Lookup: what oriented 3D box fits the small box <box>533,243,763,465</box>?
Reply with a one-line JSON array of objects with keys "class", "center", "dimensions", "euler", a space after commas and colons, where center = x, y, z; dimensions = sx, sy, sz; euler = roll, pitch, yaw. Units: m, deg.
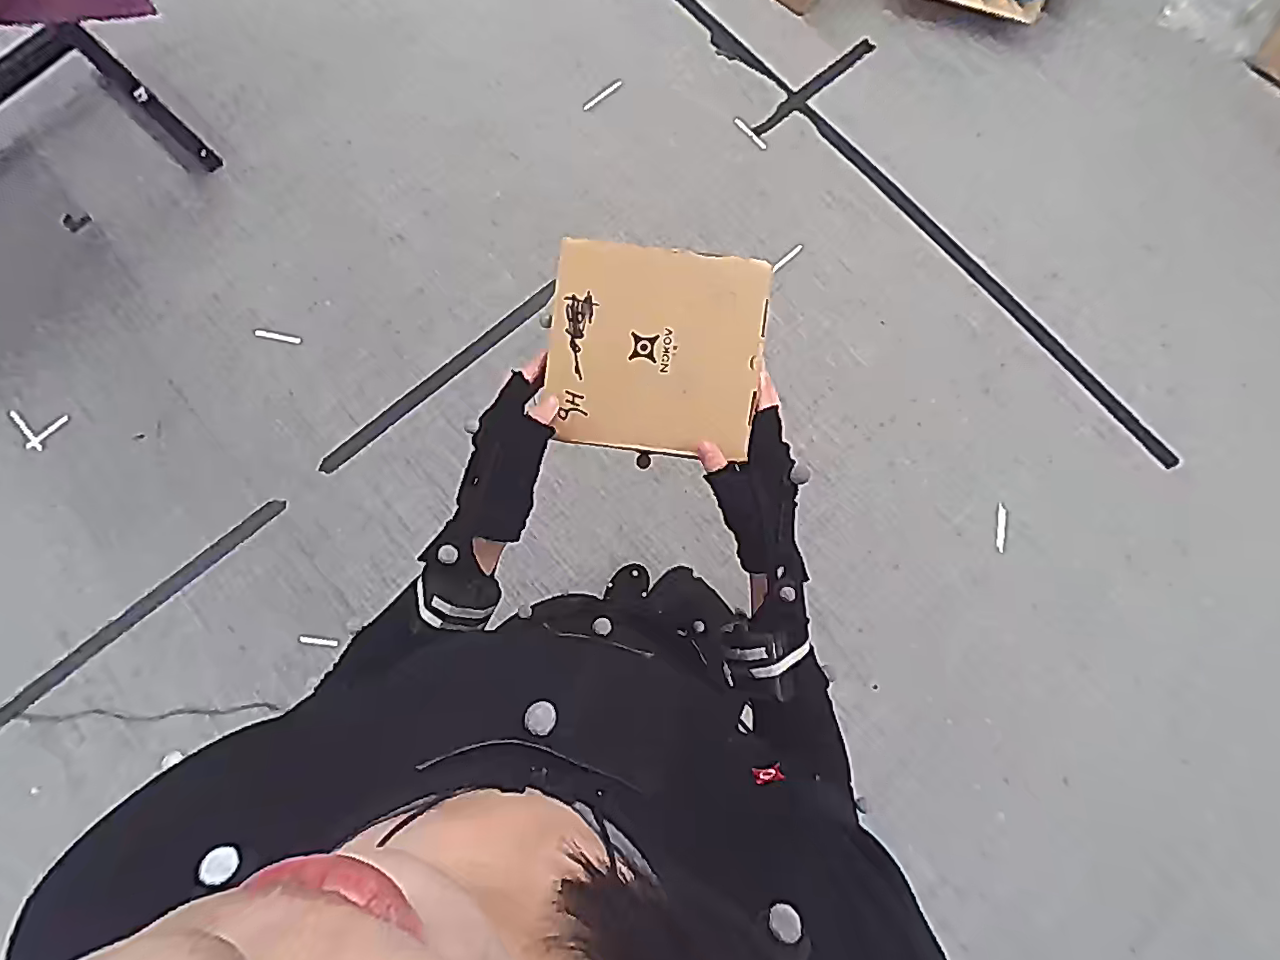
[{"class": "small box", "center": [0.007, -0.107, 0.526], "dimensions": [0.179, 0.176, 0.168], "euler": [7, 92, 1]}]
